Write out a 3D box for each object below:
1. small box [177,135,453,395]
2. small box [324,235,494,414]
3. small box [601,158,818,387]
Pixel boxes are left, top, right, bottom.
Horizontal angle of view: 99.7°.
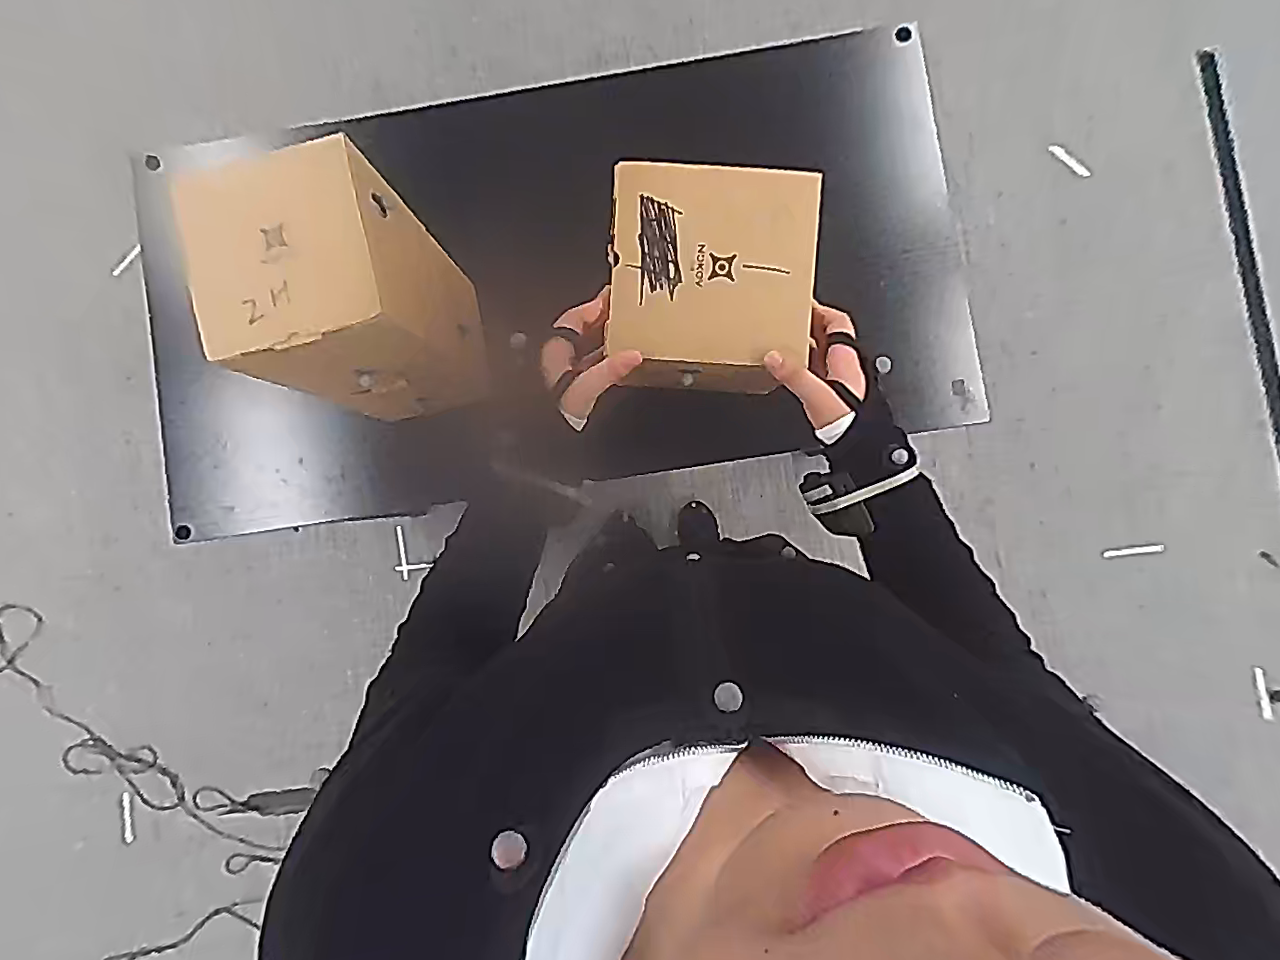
[{"bbox_3d":[-0.318,-0.205,0.563,0.168,0.176,0.179,-14,87,2],"label":"small box"},{"bbox_3d":[-0.312,-0.193,0.729,0.168,0.176,0.179,-13,87,2],"label":"small box"},{"bbox_3d":[0.061,-0.188,0.539,0.179,0.176,0.168,4,92,1],"label":"small box"}]
